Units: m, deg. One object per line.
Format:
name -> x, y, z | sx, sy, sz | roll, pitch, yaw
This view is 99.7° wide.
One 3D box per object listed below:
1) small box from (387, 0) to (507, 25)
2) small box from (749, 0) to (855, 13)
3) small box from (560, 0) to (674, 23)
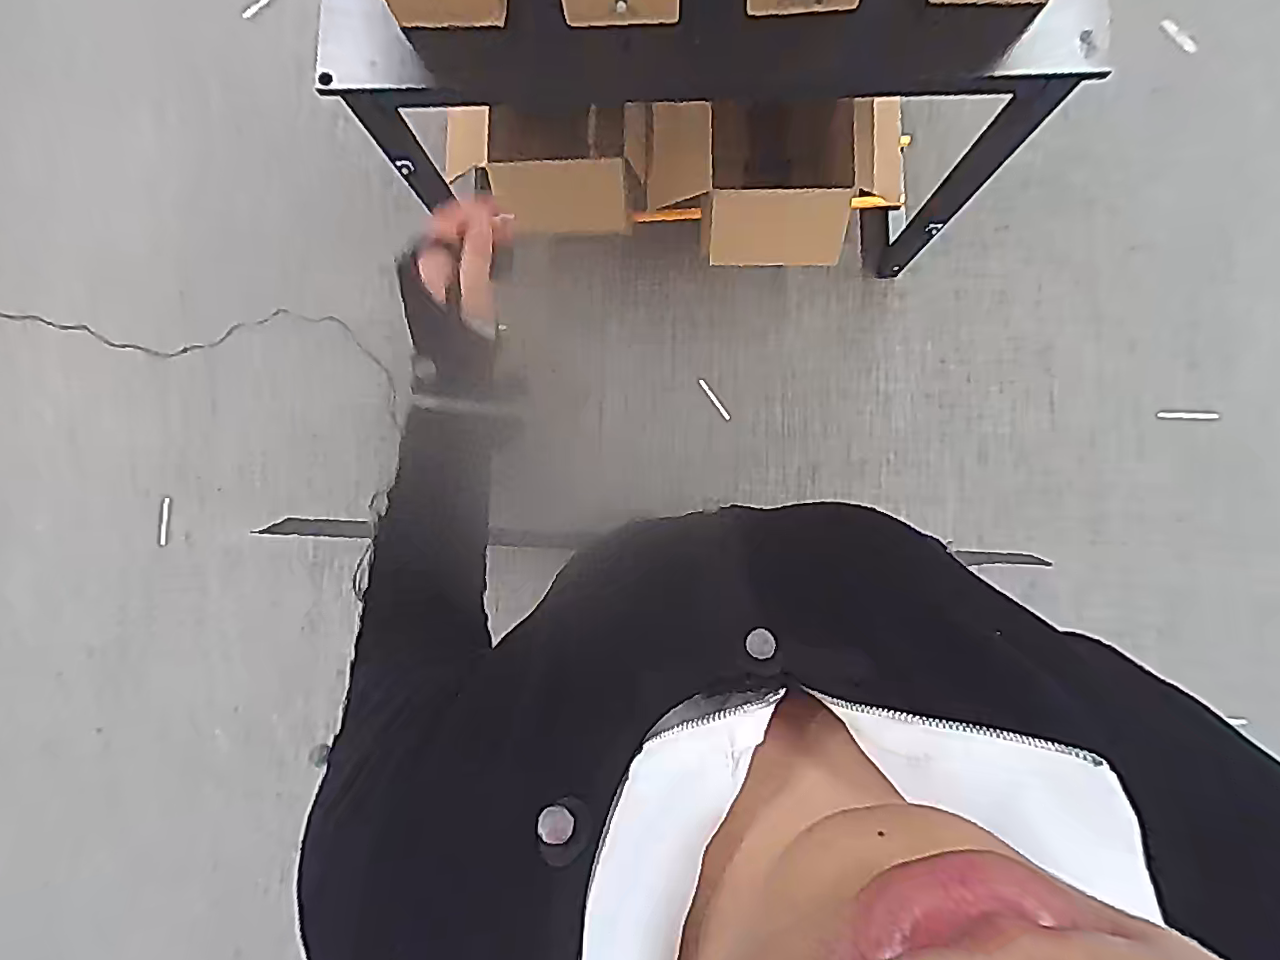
small box -> -0.296, -0.793, 0.767 | 0.179, 0.176, 0.168 | 1, 87, 2
small box -> 0.239, -0.801, 0.744 | 0.168, 0.176, 0.179 | -1, 86, 3
small box -> -0.032, -0.787, 0.755 | 0.179, 0.176, 0.168 | -1, 86, 2
